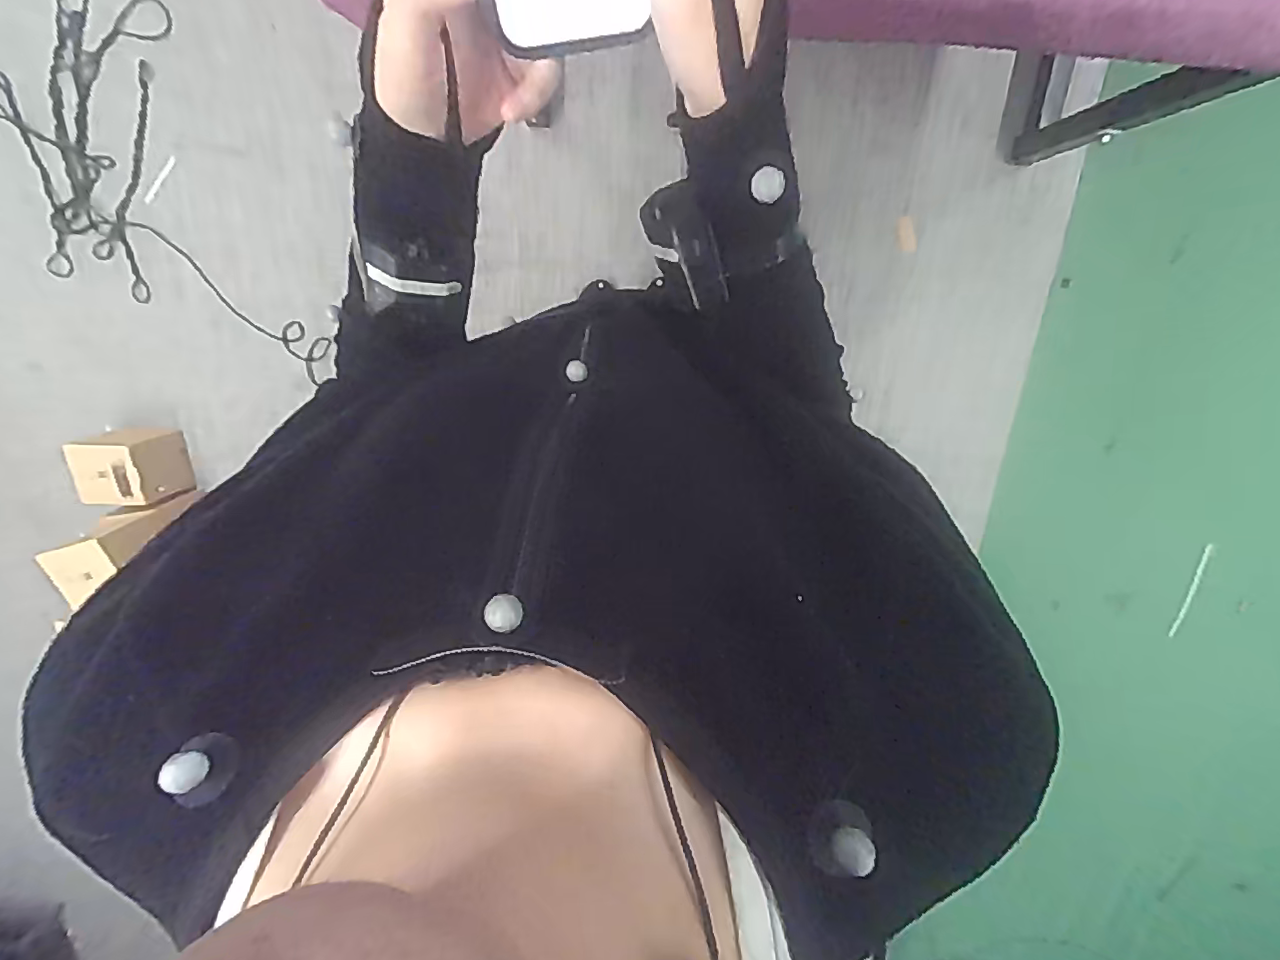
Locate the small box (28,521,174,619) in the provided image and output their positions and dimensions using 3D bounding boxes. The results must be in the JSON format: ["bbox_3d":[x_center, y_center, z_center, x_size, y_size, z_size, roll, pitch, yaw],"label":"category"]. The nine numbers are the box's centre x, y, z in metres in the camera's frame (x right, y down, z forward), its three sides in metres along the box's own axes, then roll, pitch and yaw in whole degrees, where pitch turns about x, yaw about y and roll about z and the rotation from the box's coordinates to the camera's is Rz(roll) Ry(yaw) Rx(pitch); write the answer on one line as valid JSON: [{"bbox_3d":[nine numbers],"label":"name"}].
[{"bbox_3d":[-1.342,0.220,1.368,0.179,0.176,0.168,-14,108,6],"label":"small box"}]
